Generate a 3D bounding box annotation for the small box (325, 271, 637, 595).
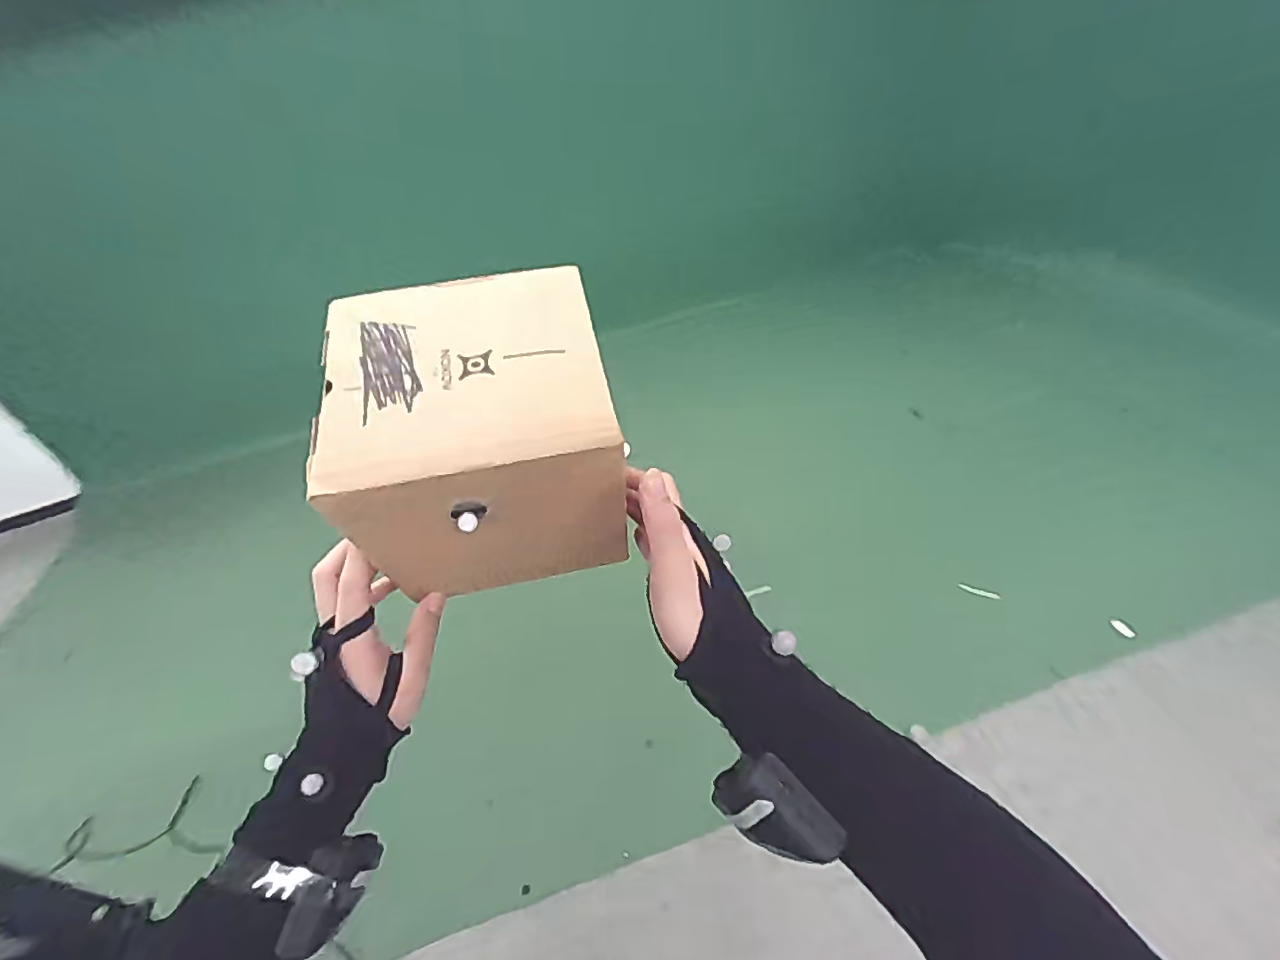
[{"bbox_3d":[-0.101,-0.027,0.409,0.179,0.176,0.168,-10,59,-7],"label":"small box"}]
